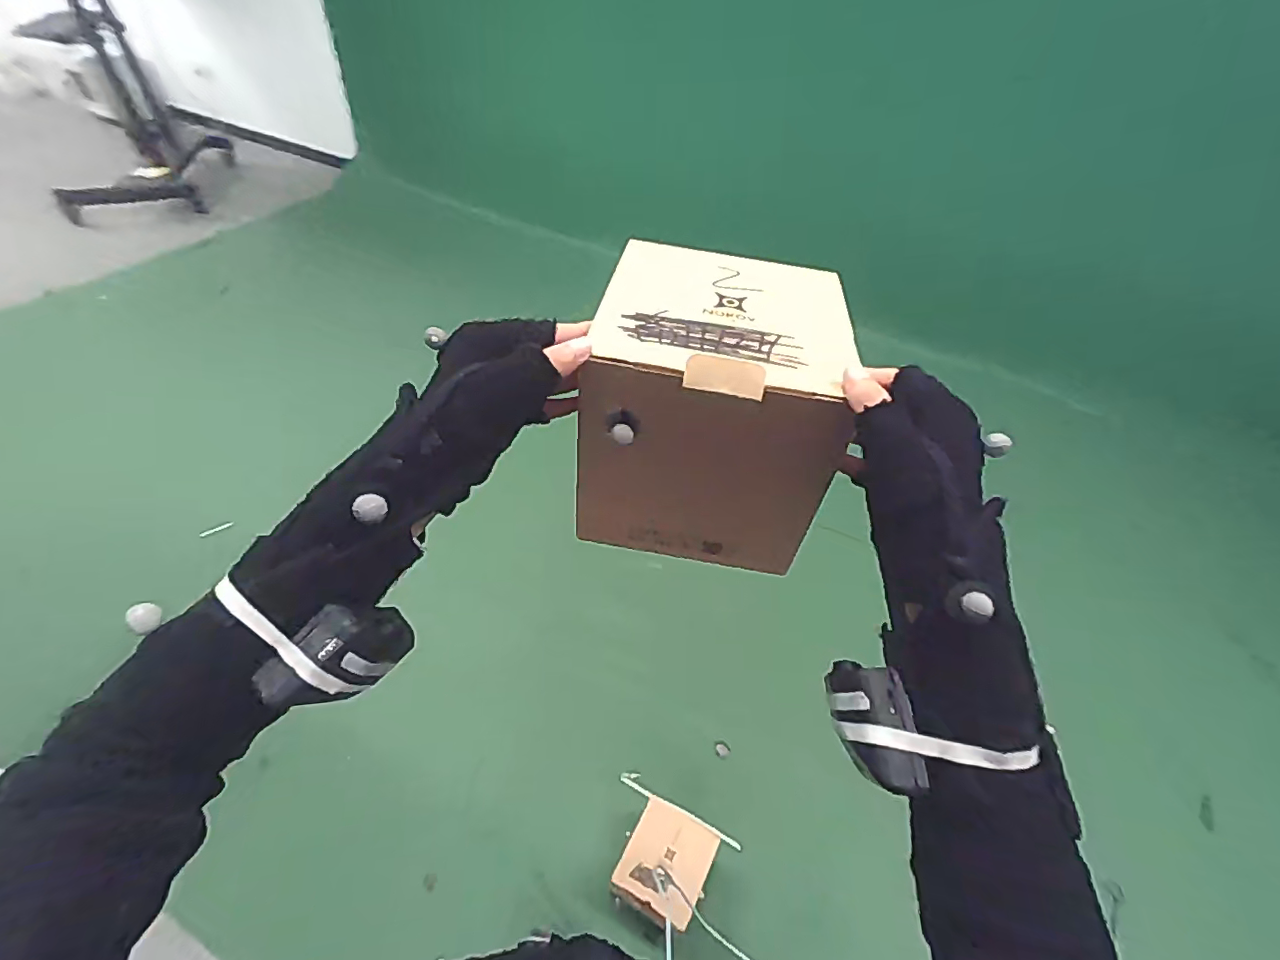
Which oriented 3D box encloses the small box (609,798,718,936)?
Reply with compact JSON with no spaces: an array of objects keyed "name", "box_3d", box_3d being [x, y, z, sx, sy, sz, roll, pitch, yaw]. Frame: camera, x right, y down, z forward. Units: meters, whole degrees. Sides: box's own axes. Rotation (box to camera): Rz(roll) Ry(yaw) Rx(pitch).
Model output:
[{"name":"small box","box_3d":[0.046,0.826,1.150,0.168,0.176,0.179,26,49,16]}]
